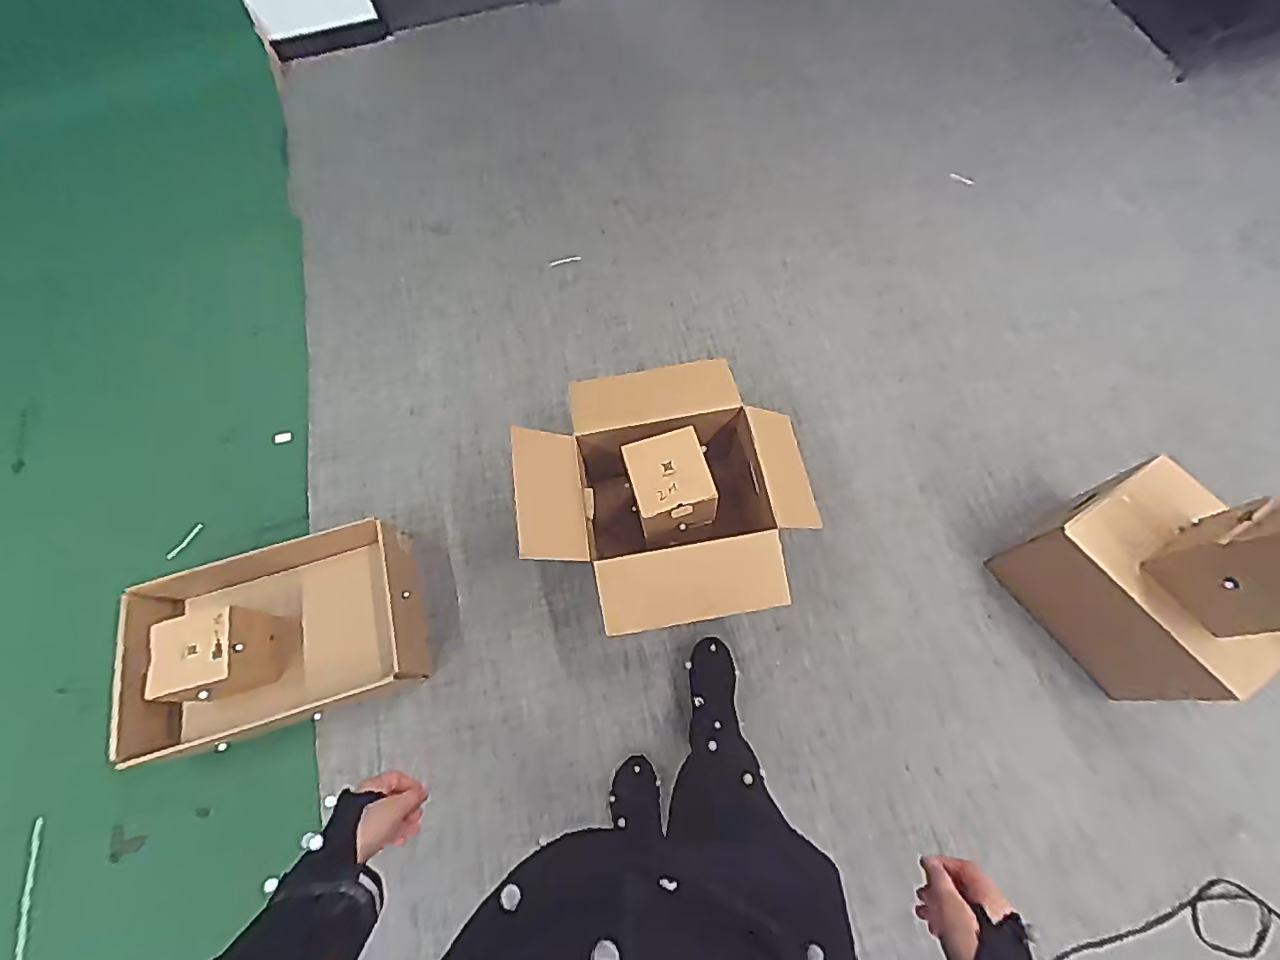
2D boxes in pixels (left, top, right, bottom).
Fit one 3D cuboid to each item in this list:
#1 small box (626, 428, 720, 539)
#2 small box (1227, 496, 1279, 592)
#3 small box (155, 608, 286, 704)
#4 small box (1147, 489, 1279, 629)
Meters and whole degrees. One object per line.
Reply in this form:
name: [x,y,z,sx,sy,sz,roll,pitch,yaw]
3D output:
small box: [0.074,0.013,1.231,0.168,0.176,0.179,-17,67,-1]
small box: [1.103,0.100,0.831,0.168,0.176,0.179,-32,69,-8]
small box: [-0.972,0.419,1.267,0.179,0.176,0.168,-16,66,-4]
small box: [1.107,0.151,0.986,0.168,0.176,0.179,-32,69,-8]
